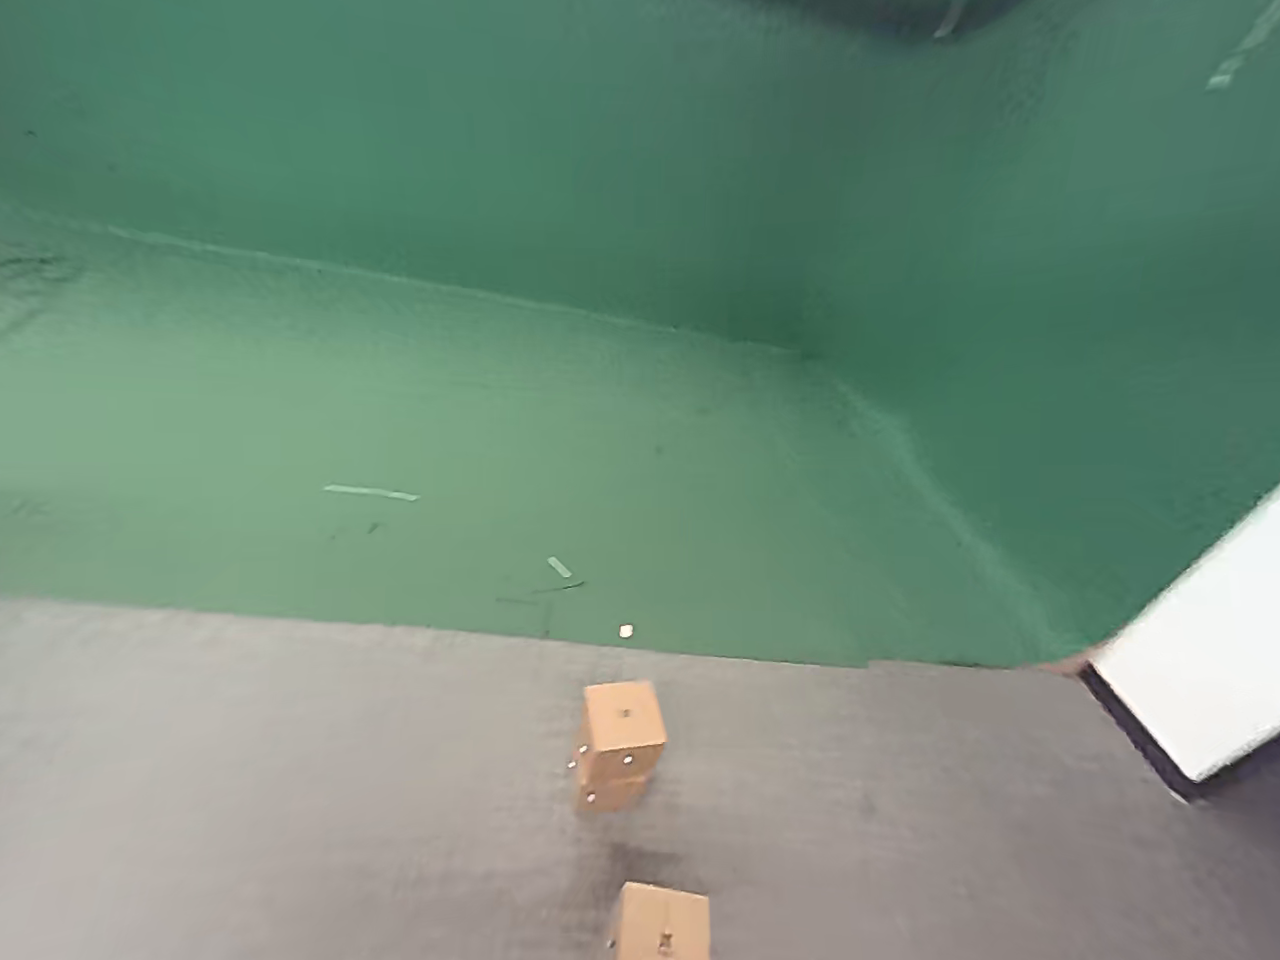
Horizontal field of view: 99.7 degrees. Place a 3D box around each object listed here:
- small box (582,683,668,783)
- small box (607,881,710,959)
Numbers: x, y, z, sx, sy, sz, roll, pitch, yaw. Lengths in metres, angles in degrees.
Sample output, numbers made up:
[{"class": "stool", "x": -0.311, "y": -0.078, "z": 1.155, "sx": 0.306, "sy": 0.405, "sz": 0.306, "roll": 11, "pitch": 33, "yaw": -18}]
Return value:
[{"class": "small box", "x": -0.047, "y": 0.631, "z": 1.347, "sx": 0.179, "sy": 0.176, "sz": 0.168, "roll": 2, "pitch": 37, "yaw": -16}, {"class": "small box", "x": 0.030, "y": 0.893, "z": 1.005, "sx": 0.168, "sy": 0.176, "sz": 0.179, "roll": 12, "pitch": 34, "yaw": -1}]
